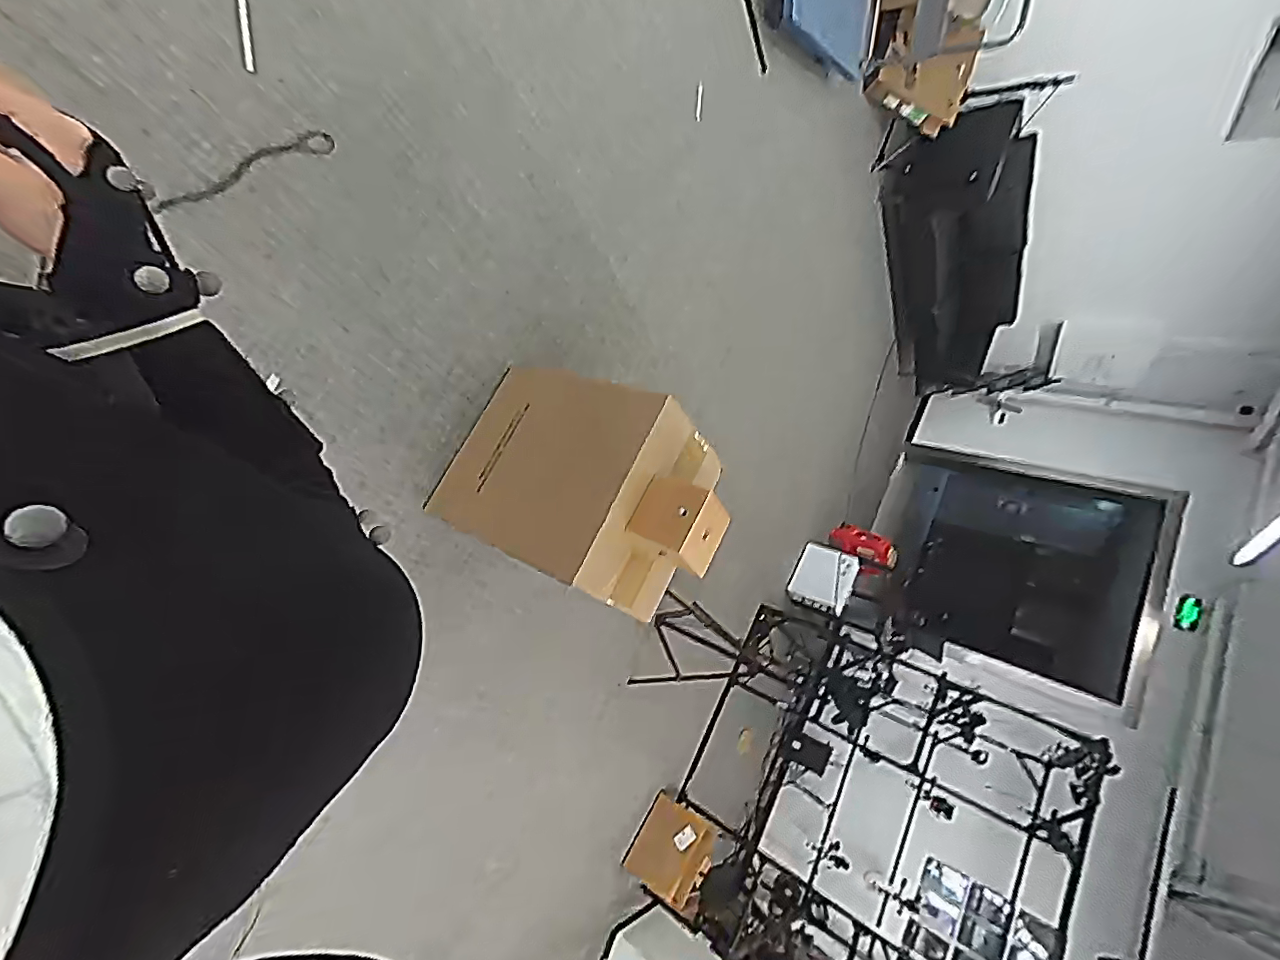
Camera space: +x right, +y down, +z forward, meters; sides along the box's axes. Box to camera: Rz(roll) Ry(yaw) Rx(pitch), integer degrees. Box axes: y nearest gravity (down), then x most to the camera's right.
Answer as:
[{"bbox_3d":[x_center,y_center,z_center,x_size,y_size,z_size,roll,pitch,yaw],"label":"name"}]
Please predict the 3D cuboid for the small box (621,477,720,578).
[{"bbox_3d":[0.072,0.118,1.364,0.179,0.176,0.168,-61,143,-18],"label":"small box"}]
